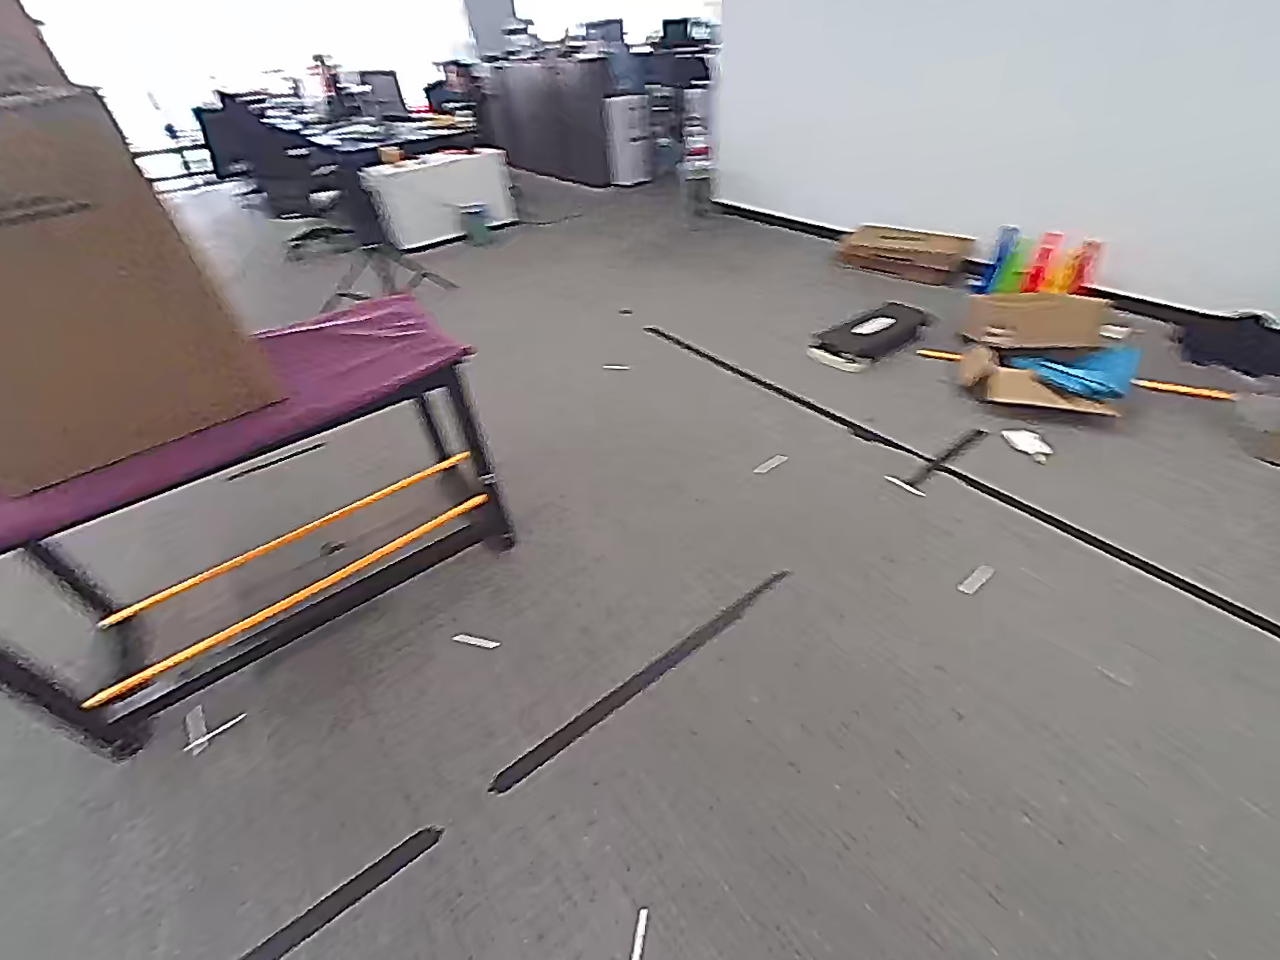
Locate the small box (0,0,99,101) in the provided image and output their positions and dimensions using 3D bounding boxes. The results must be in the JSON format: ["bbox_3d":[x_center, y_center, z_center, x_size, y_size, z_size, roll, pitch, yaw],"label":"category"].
[{"bbox_3d":[-1.173,-0.824,1.014,0.168,0.176,0.179,-30,46,-24],"label":"small box"}]
